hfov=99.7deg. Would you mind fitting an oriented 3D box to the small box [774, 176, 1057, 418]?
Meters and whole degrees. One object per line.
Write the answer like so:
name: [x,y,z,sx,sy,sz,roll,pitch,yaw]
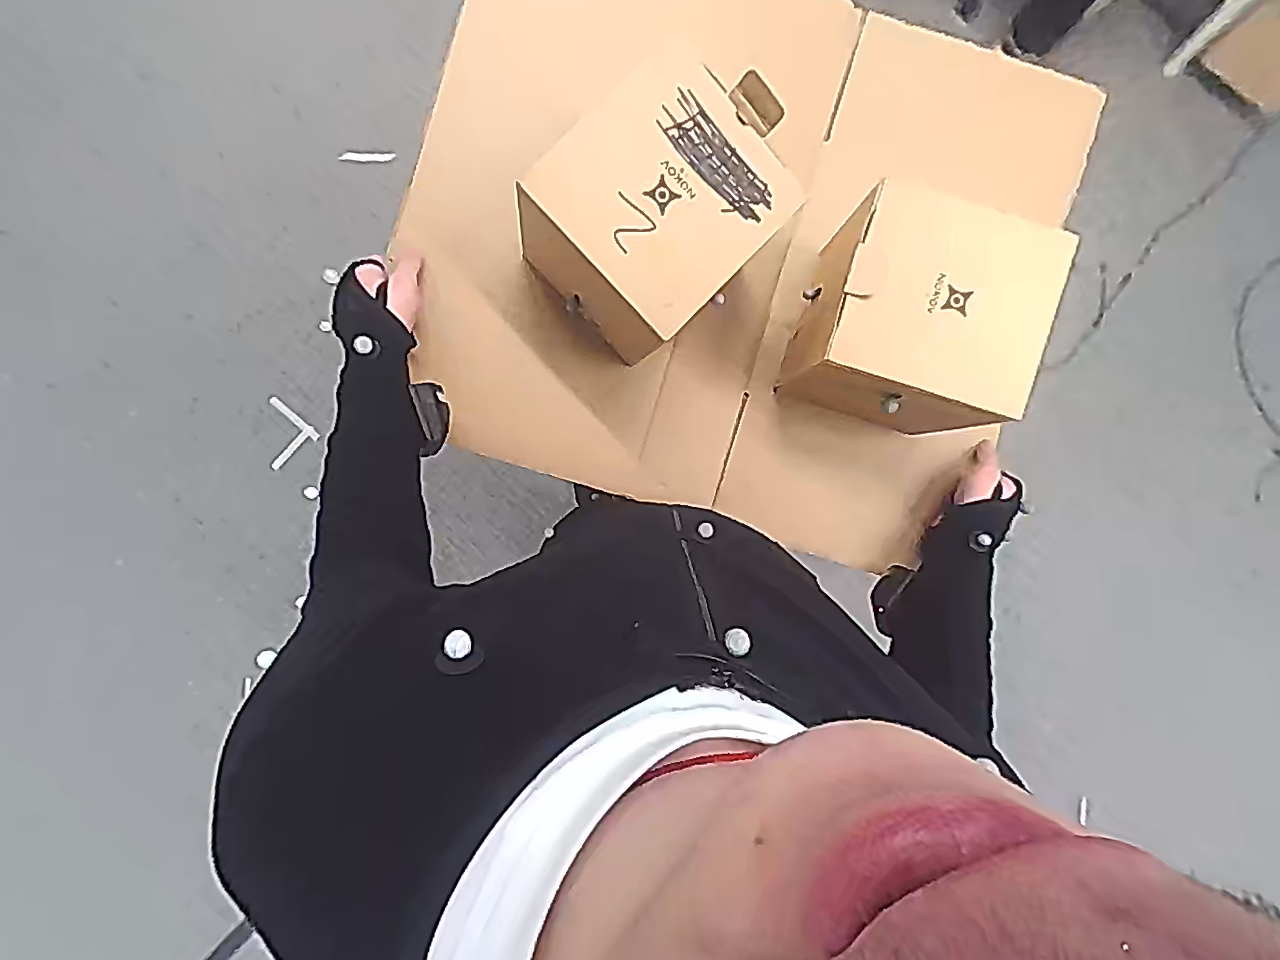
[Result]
small box: [0.259,-0.165,0.552,0.179,0.176,0.168,16,91,0]
